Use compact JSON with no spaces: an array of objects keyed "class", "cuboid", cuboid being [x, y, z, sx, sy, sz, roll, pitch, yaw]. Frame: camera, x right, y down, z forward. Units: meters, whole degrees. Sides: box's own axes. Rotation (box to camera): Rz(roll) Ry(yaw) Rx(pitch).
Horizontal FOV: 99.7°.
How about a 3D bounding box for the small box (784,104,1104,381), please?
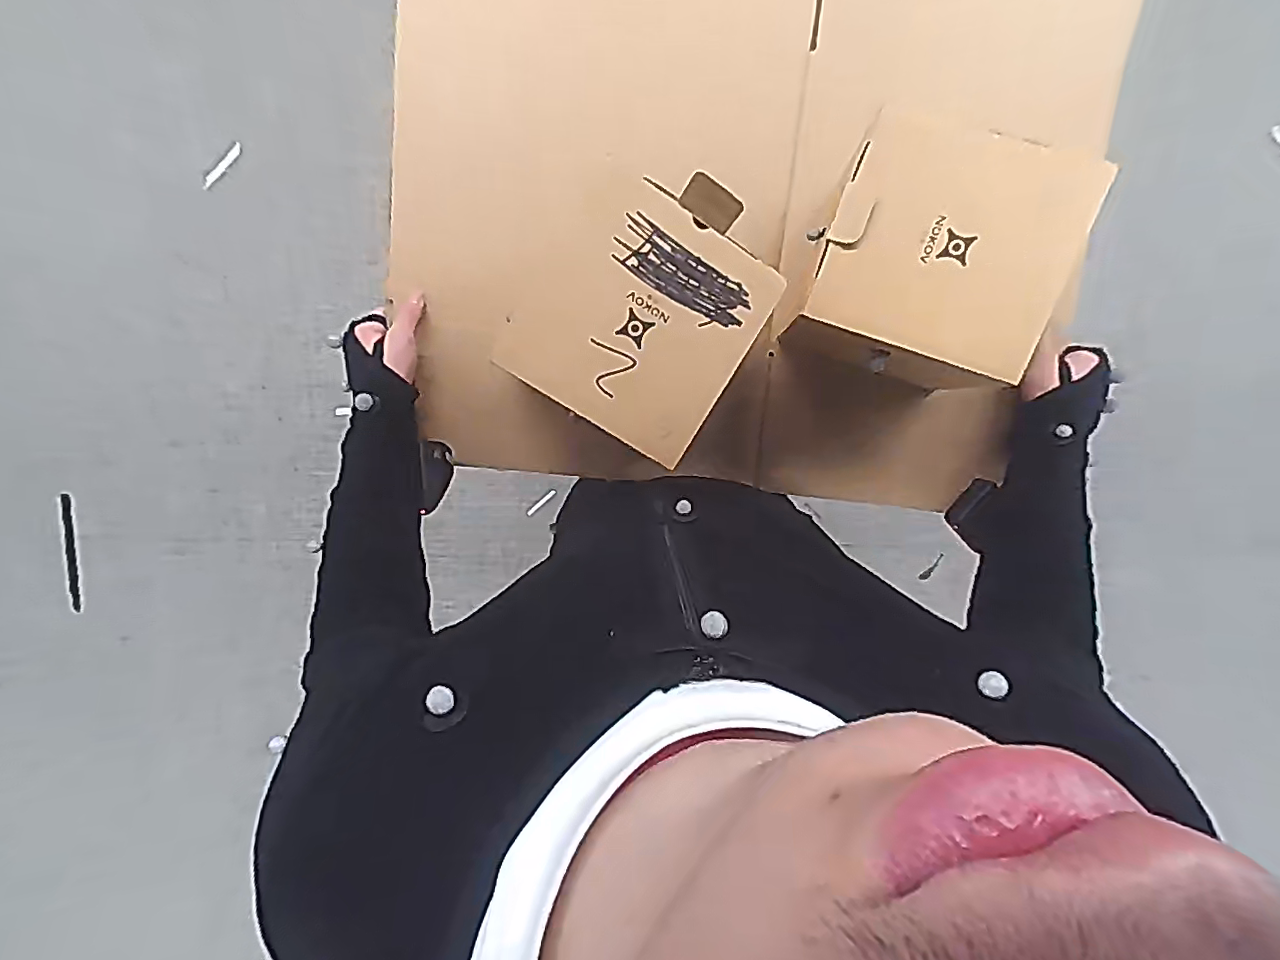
[{"class":"small box","cuboid":[0.250,-0.197,0.500,0.179,0.176,0.168,20,101,6]}]
